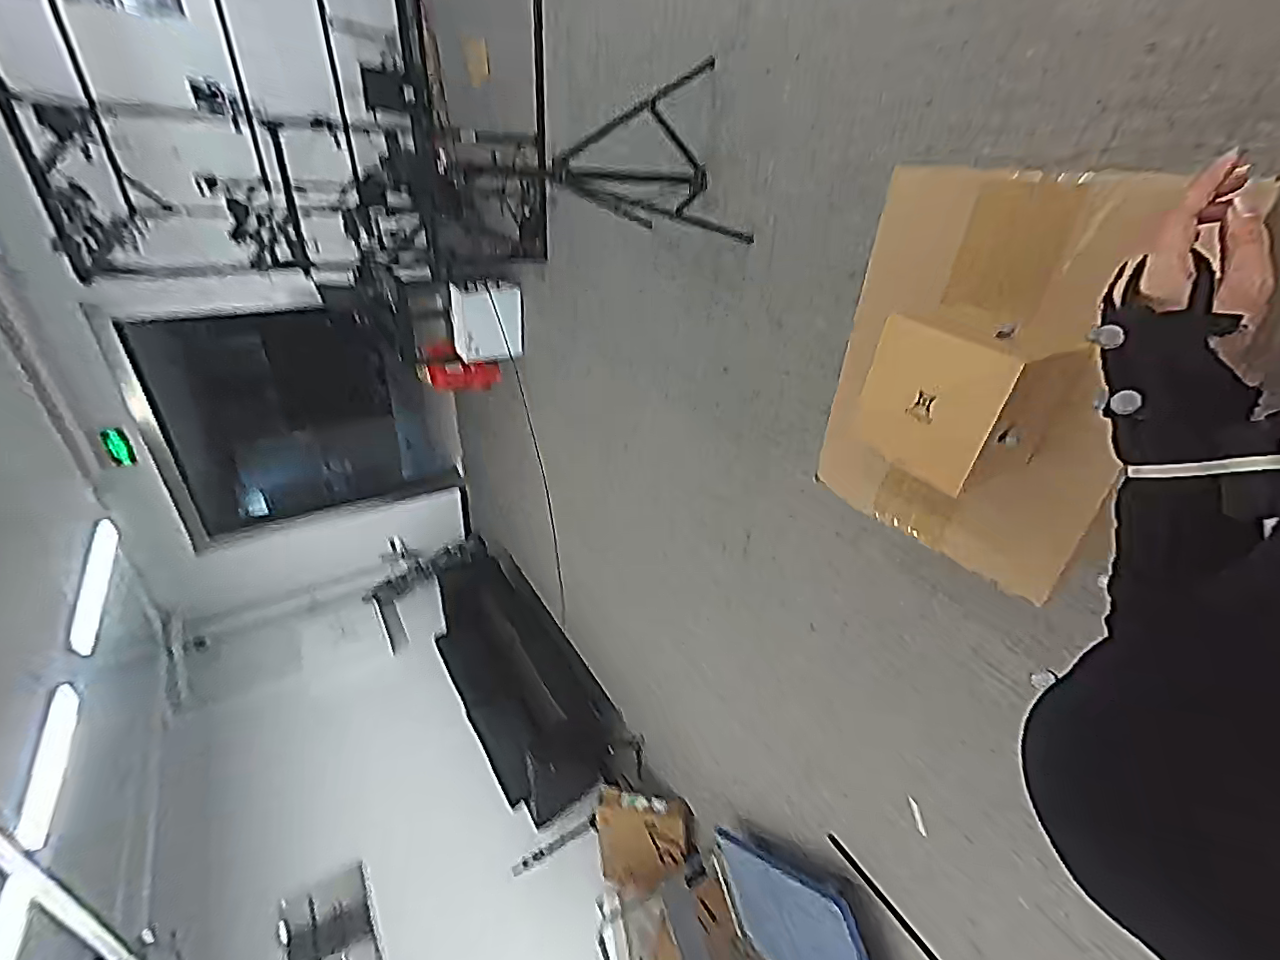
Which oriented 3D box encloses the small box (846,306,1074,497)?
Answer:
[{"bbox_3d":[0.402,-0.111,0.687,0.168,0.176,0.179,42,138,42],"label":"small box"}]
